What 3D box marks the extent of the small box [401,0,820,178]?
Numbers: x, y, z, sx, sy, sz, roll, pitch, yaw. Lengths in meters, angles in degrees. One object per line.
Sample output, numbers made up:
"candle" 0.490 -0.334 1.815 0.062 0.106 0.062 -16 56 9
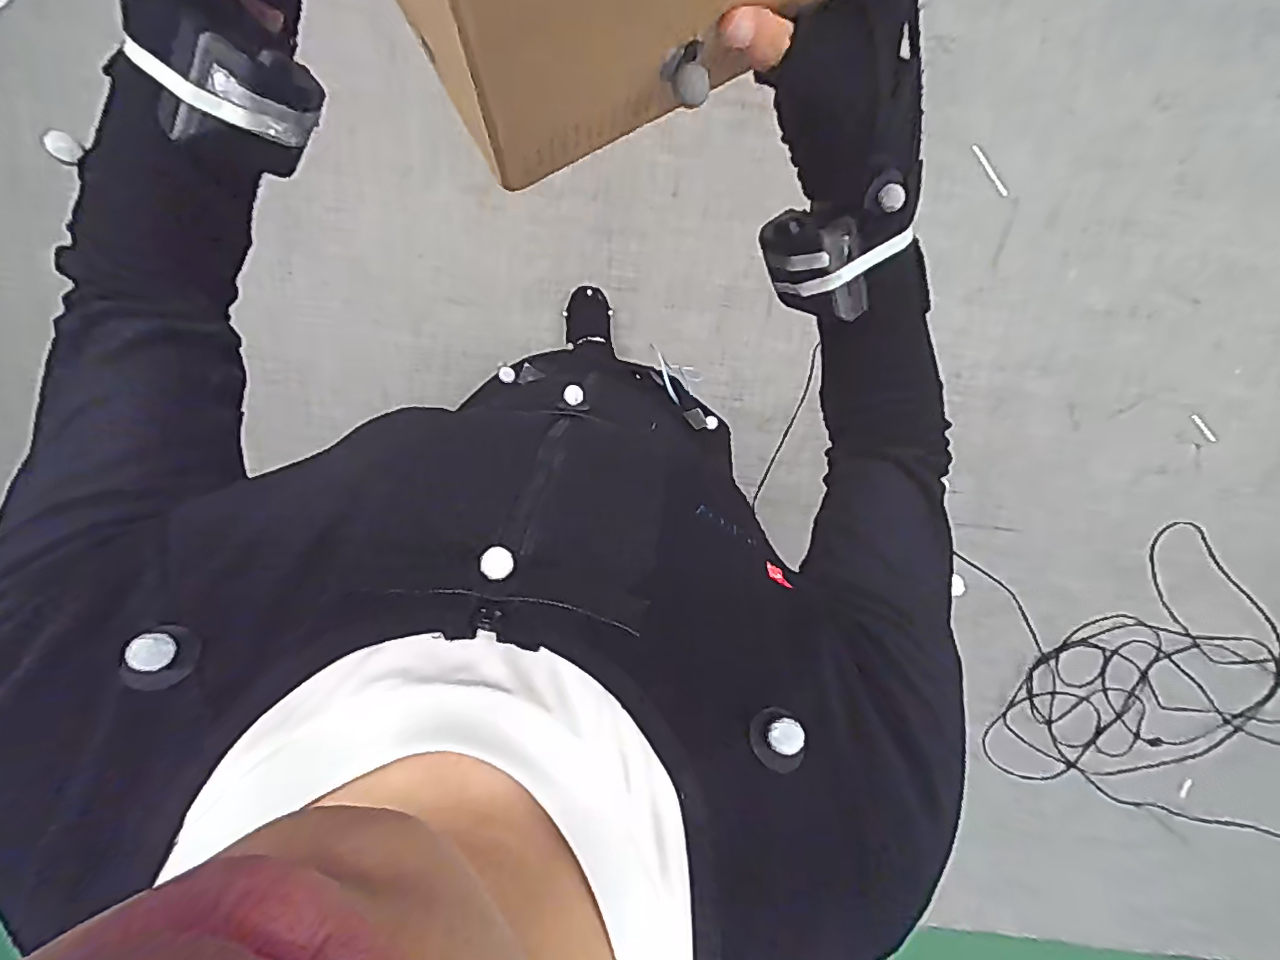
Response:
"small box" -0.014 -0.238 0.167 0.179 0.176 0.168 -30 99 -4
